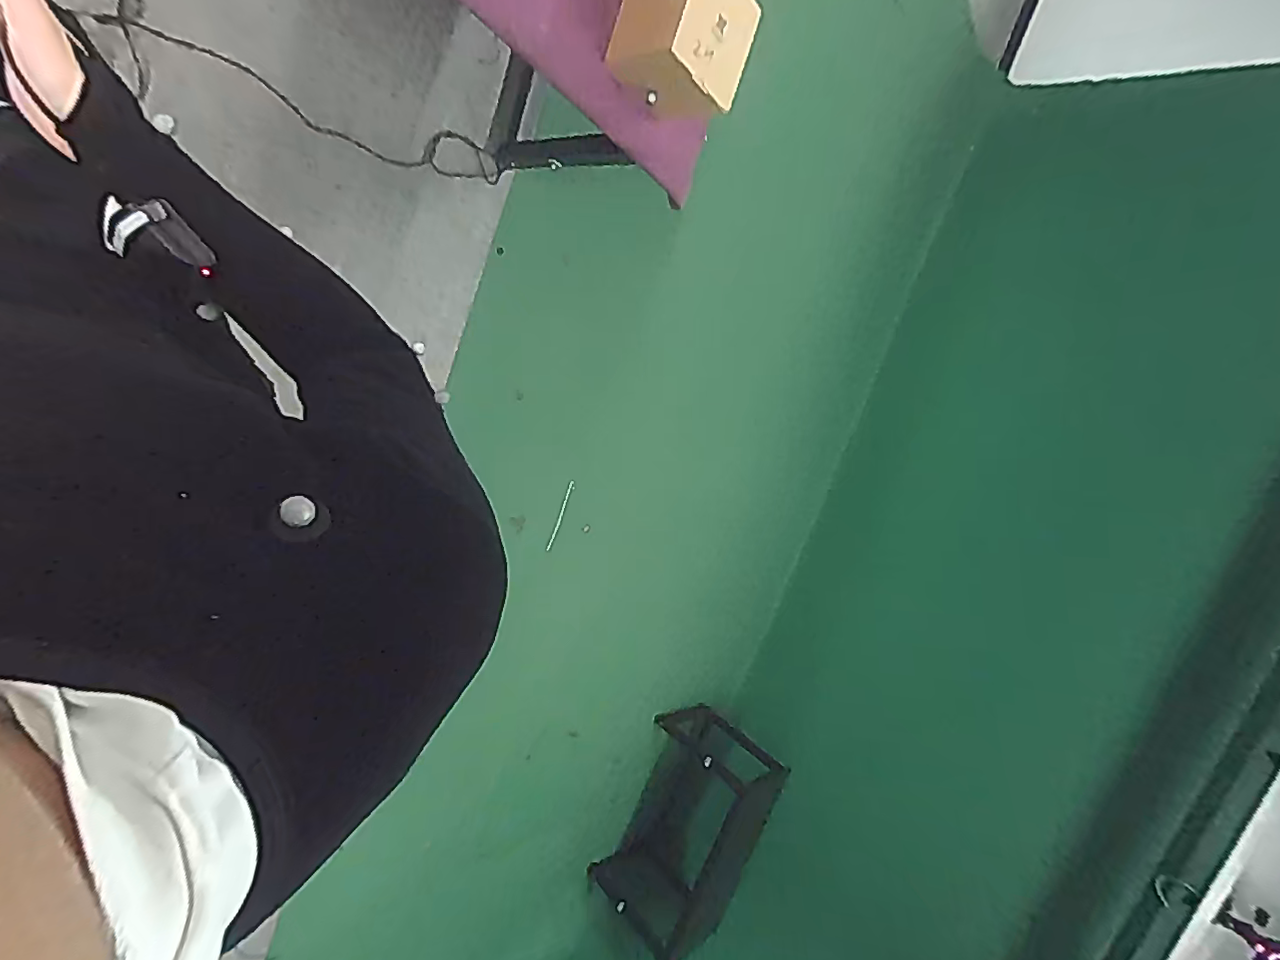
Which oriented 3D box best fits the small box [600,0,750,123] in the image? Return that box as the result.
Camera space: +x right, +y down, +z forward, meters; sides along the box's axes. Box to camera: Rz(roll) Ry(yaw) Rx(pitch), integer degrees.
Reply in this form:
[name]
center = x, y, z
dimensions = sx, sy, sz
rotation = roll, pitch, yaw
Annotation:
[small box]
center = 0.057, -0.760, 0.942
dimensions = 0.168, 0.176, 0.179
rotation = 10, 104, -49
